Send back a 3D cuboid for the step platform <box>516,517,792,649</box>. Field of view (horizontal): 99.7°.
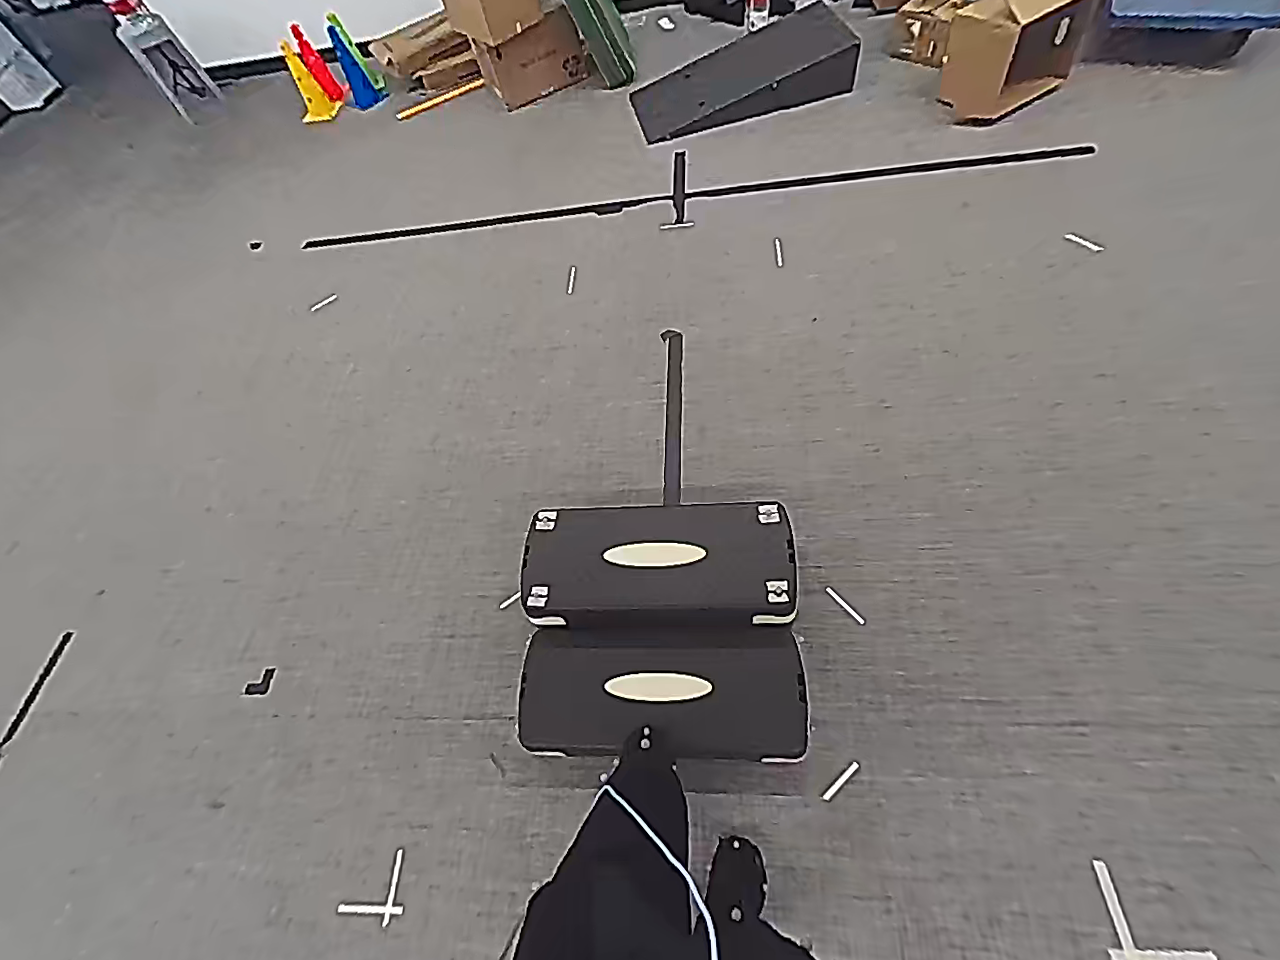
[{"bbox_3d":[0.032,0.263,1.378,0.684,0.204,0.286,-3,60,7],"label":"step platform"}]
